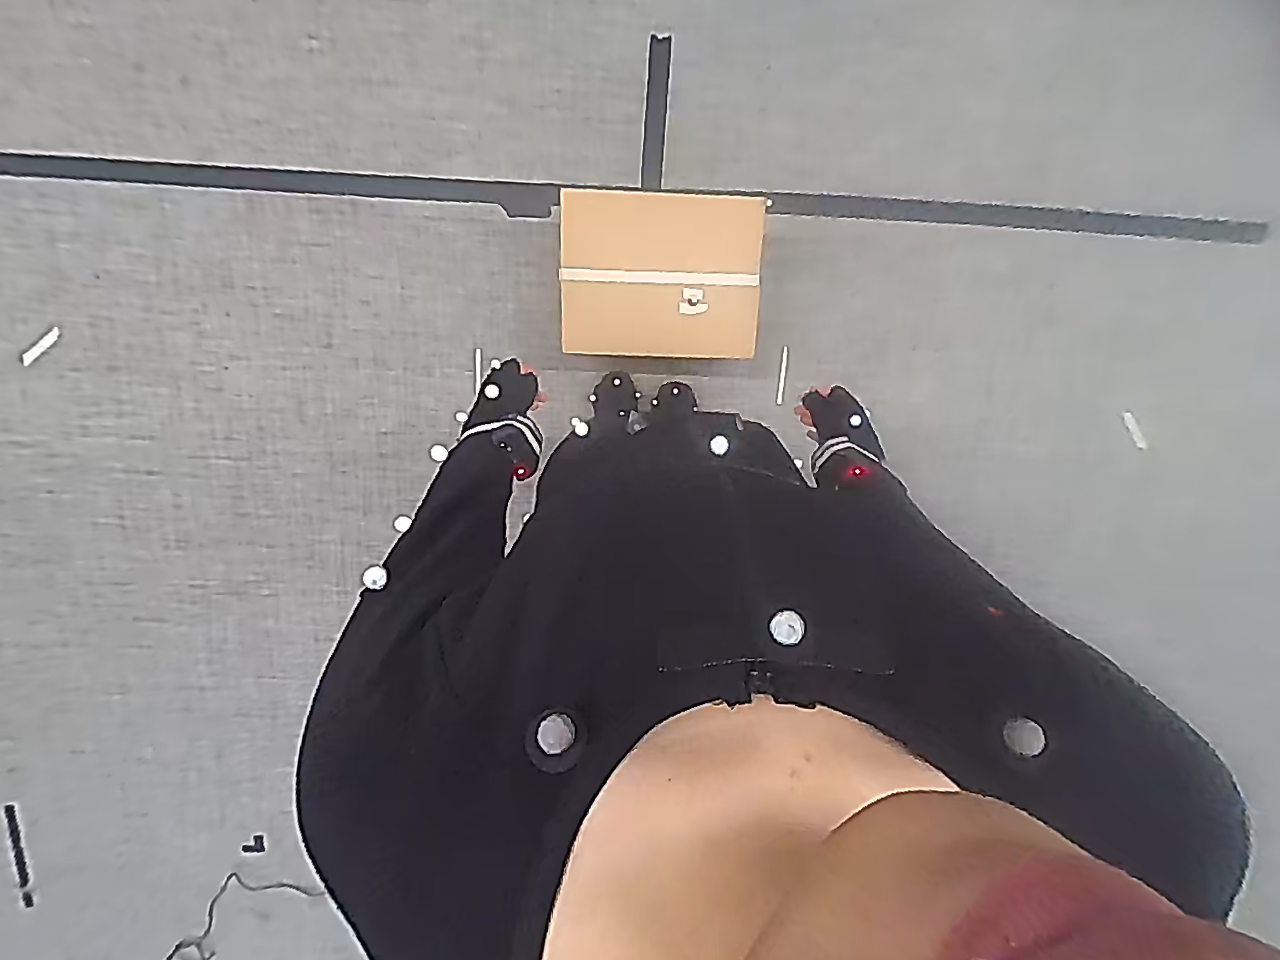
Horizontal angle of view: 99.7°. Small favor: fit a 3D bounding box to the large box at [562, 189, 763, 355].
[{"bbox_3d":[0.035,-0.448,1.235,0.408,0.320,0.320,0,104,-4],"label":"large box"}]
